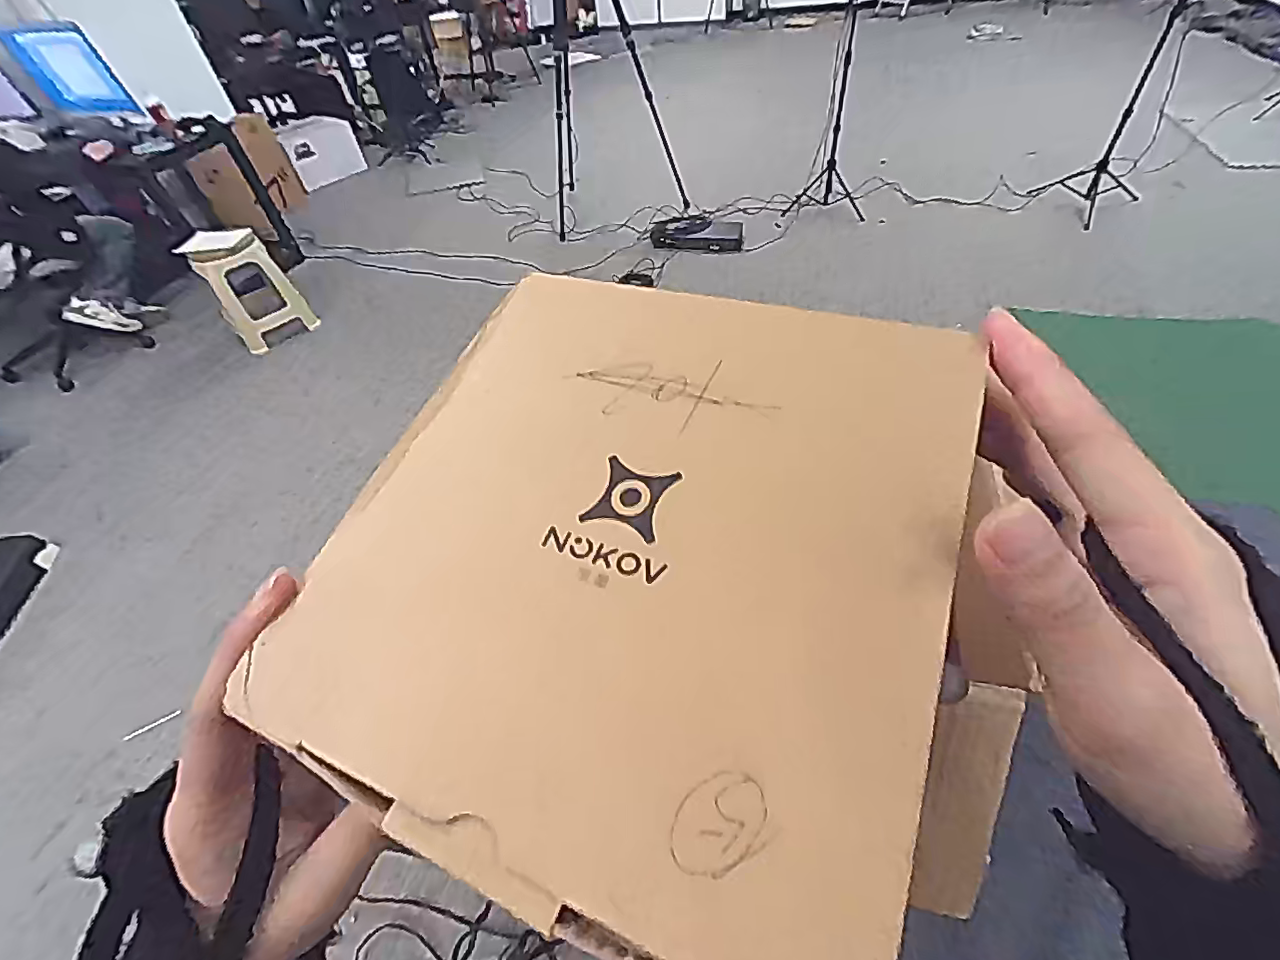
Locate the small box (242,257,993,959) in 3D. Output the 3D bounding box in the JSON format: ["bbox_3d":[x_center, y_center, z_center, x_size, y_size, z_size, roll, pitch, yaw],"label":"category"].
[{"bbox_3d":[0.012,0.044,0.219,0.168,0.176,0.179,16,62,19],"label":"small box"}]
